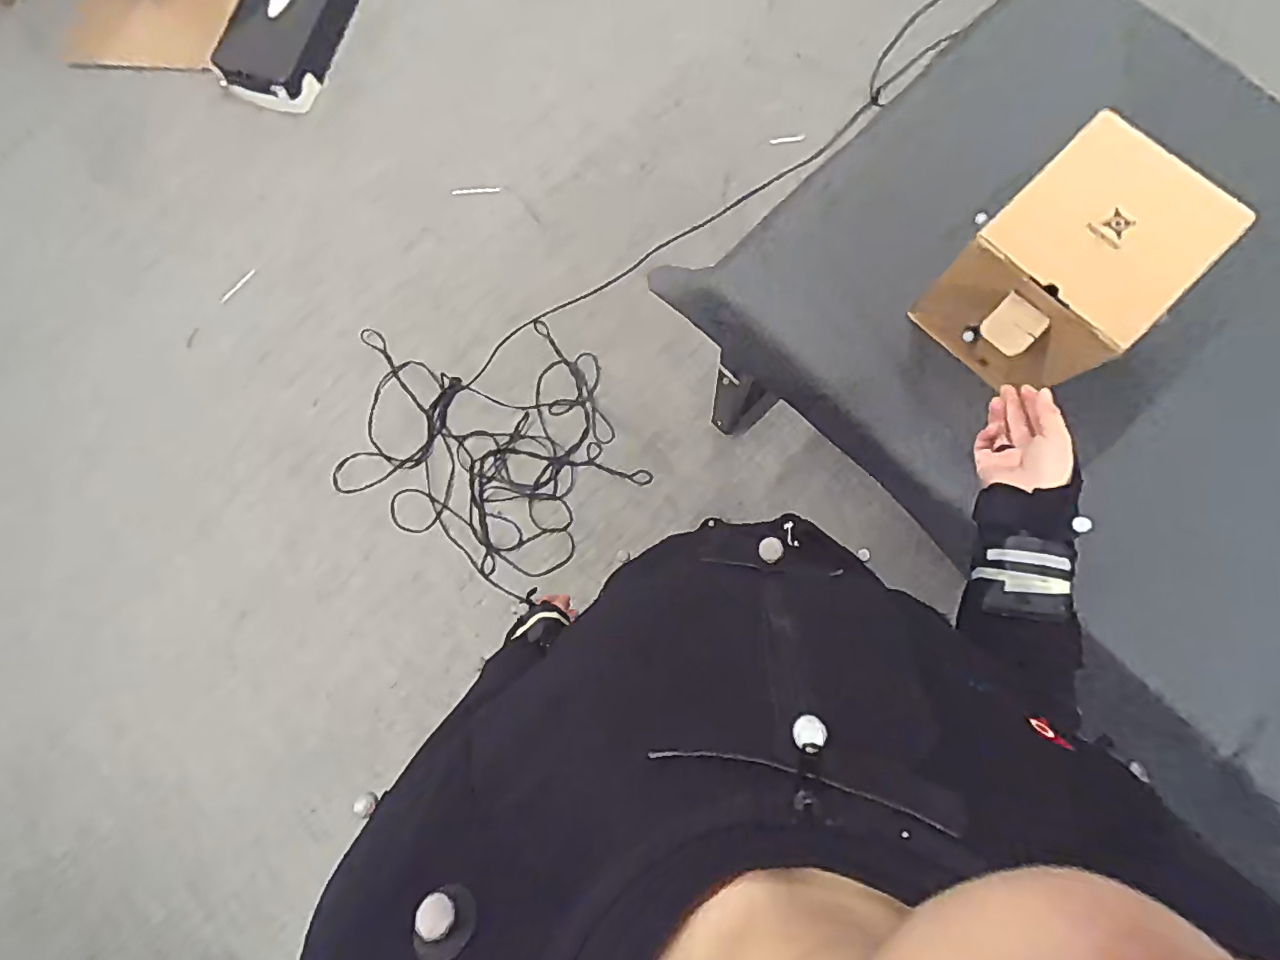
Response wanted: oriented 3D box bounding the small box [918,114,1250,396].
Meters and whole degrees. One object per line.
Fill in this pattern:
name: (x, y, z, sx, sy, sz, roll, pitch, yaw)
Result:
small box: (0.438, -0.218, 0.571, 0.168, 0.176, 0.179, 45, 89, 9)
